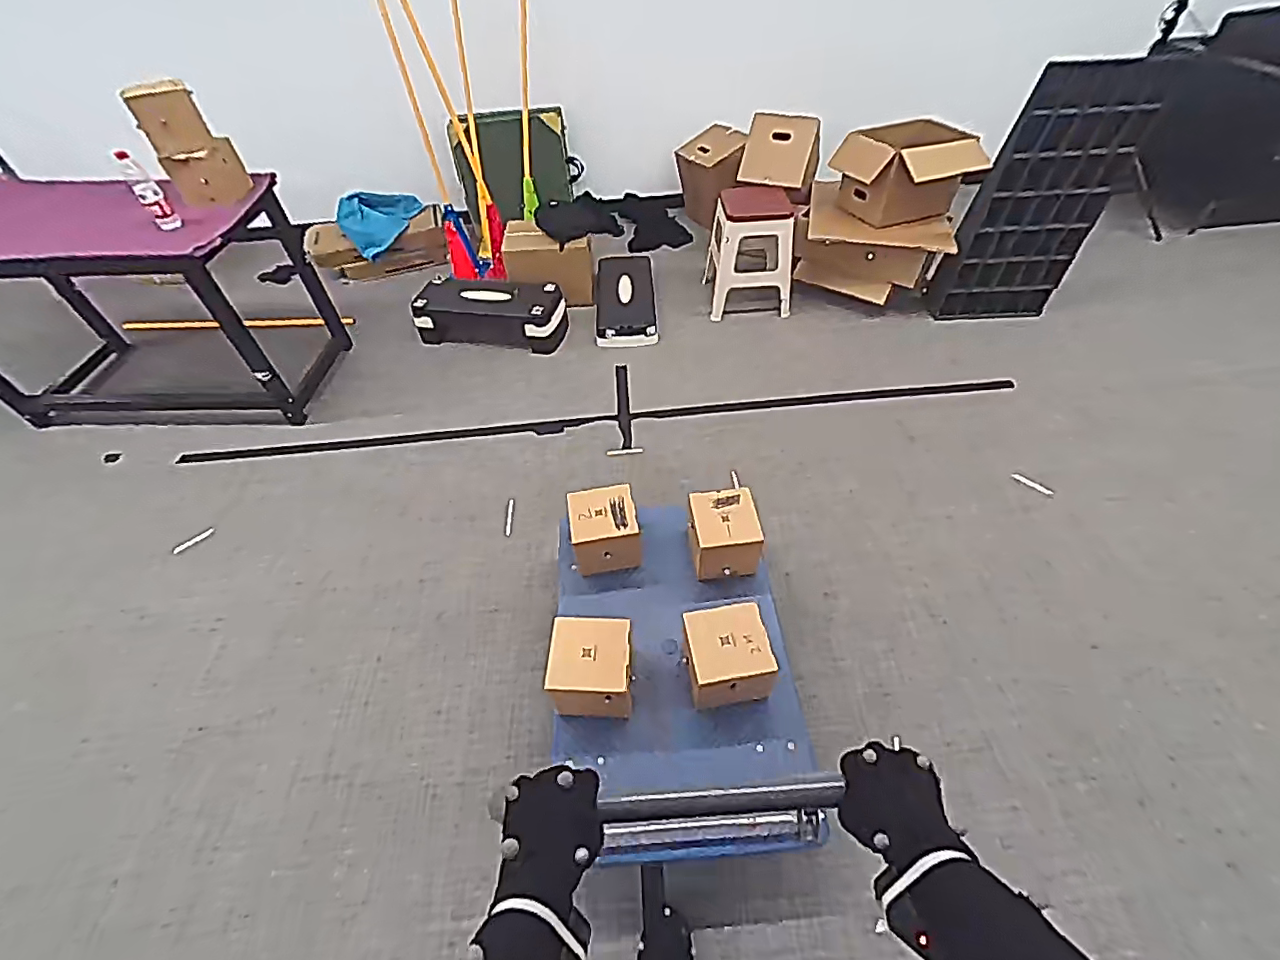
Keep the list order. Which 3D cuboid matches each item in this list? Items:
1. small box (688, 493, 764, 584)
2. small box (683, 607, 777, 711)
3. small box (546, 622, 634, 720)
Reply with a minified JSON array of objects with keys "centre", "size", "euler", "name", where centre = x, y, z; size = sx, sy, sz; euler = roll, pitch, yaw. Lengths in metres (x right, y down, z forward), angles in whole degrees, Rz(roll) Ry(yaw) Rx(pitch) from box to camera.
[{"centre":[0.224,0.159,1.463],"size":[0.168,0.176,0.179],"euler":[-7,51,-2],"name":"small box"},{"centre":[0.199,0.416,1.246],"size":[0.179,0.176,0.168],"euler":[-9,50,-4],"name":"small box"},{"centre":[-0.107,0.442,1.242],"size":[0.179,0.176,0.168],"euler":[1,49,2],"name":"small box"}]
